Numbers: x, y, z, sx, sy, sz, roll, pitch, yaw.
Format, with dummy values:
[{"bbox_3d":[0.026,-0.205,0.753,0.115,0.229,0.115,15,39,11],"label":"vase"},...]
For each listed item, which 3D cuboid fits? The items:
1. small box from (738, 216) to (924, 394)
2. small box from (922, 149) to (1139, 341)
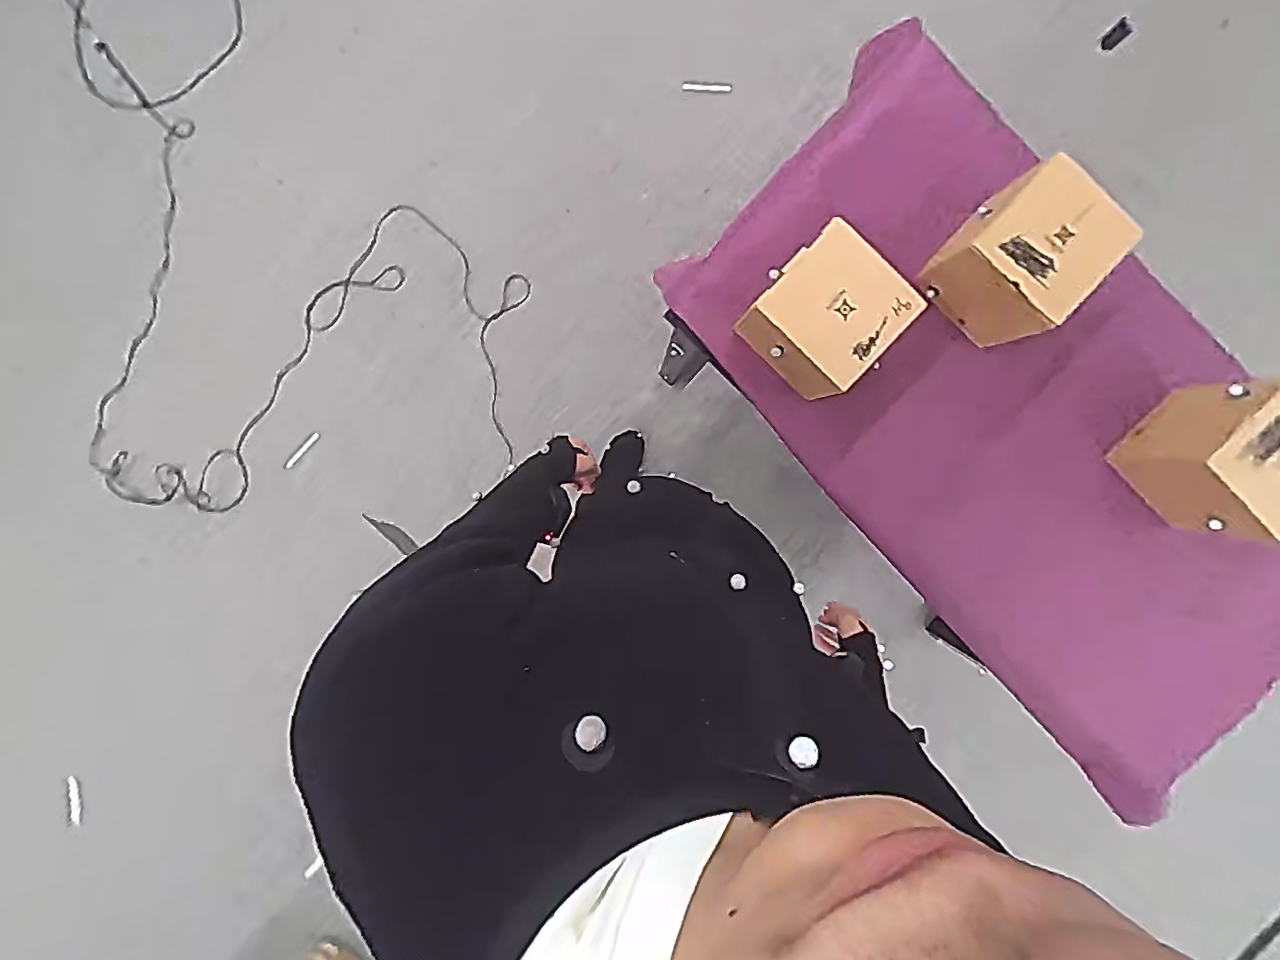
[{"bbox_3d":[0.271,-0.247,0.816,0.179,0.176,0.168,44,93,-2],"label":"small box"},{"bbox_3d":[0.564,-0.335,0.815,0.168,0.176,0.179,43,92,-3],"label":"small box"}]
